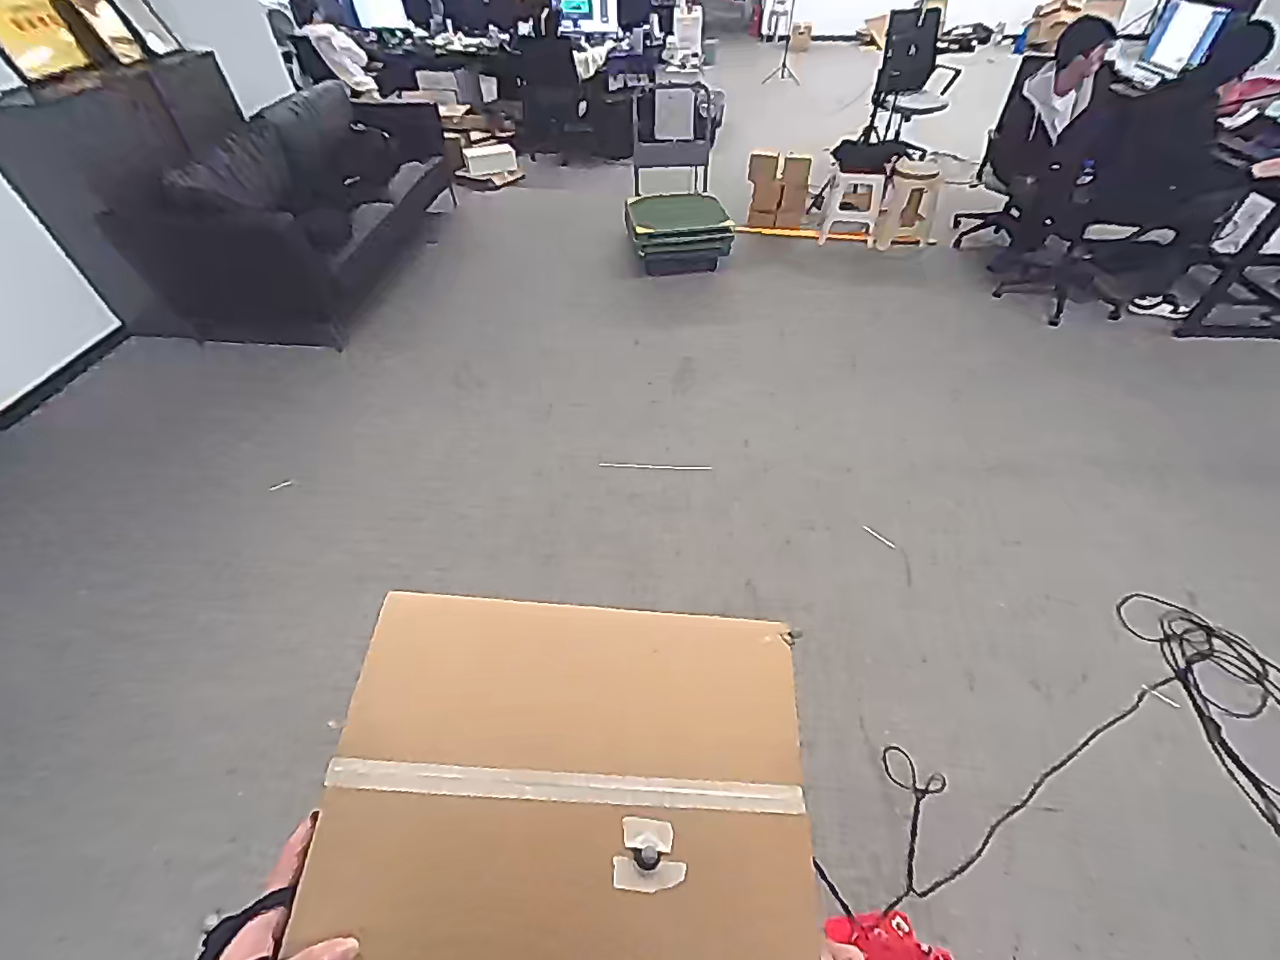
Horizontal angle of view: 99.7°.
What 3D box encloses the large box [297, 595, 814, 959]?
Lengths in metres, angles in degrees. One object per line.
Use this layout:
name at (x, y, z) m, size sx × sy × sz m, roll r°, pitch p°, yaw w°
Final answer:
large box at (-0.070, 0.338, 0.606) m, size 0.408 × 0.320 × 0.320 m, roll 5°, pitch 60°, yaw -3°
